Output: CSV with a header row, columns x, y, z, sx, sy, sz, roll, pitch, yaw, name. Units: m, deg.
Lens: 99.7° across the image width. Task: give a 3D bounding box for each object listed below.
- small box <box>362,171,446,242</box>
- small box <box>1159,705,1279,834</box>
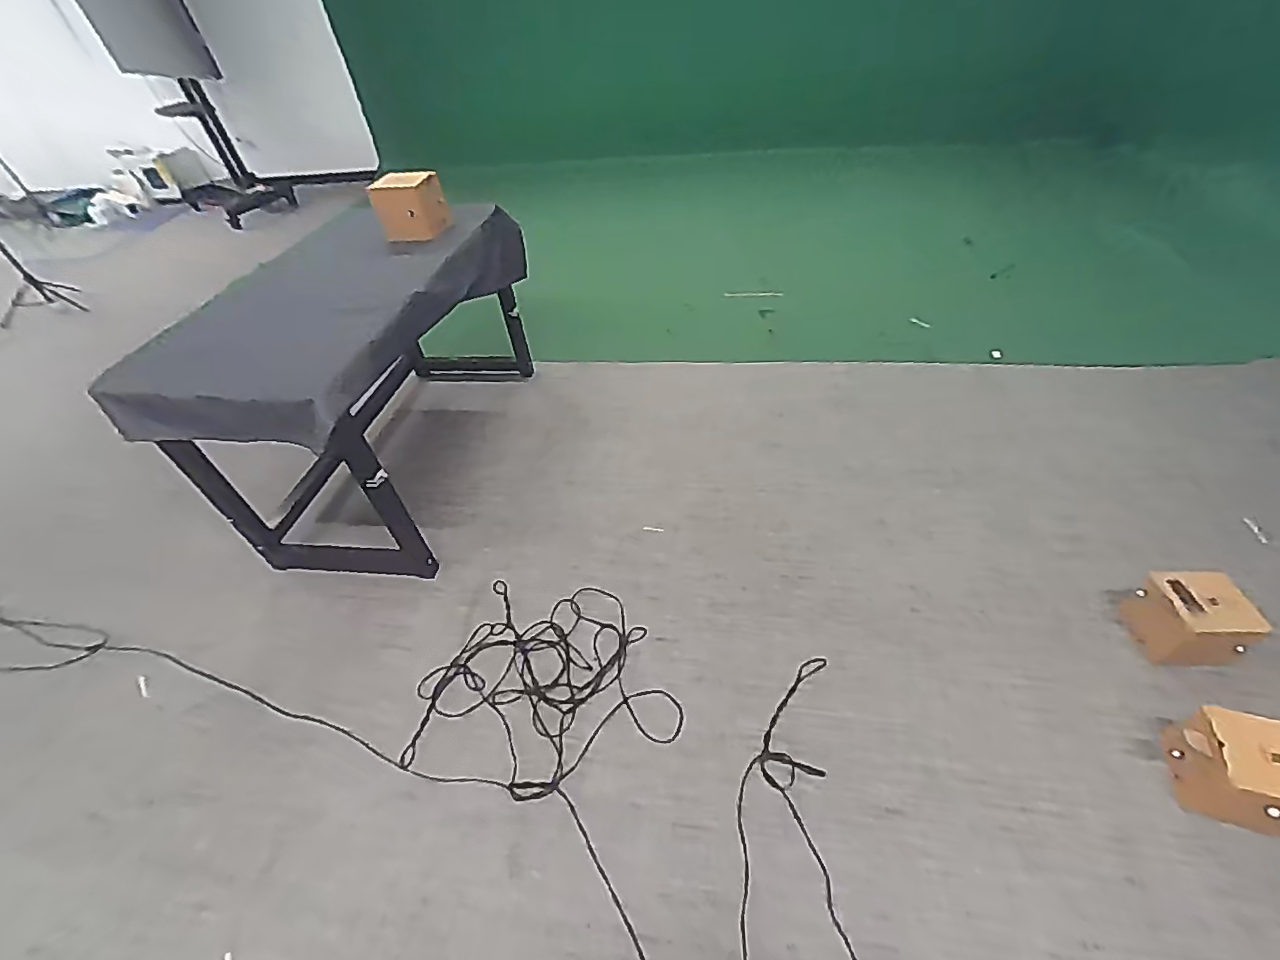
x,y,z,sx,sy,sz,roll,pitch,yaw,name
-0.778,-0.914,1.810,0.179,0.176,0.168,2,44,11,small box
1.223,0.588,1.093,0.179,0.176,0.168,10,47,17,small box
